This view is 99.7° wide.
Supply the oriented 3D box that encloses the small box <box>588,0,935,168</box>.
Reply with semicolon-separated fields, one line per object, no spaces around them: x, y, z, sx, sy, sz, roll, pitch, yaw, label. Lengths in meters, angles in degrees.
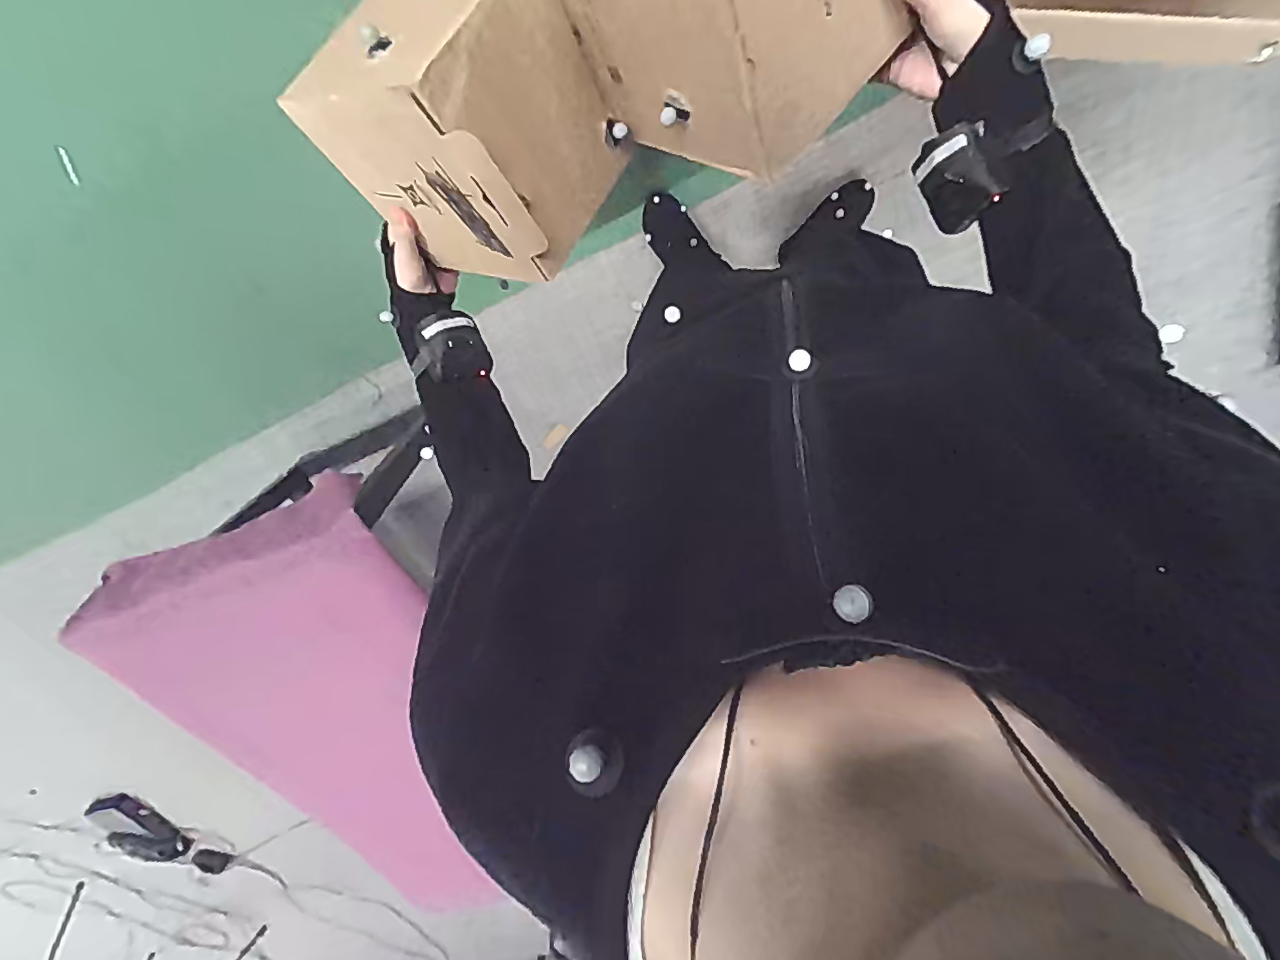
0.069;-0.352;0.357;0.179;0.176;0.168;-48;147;-3;small box
